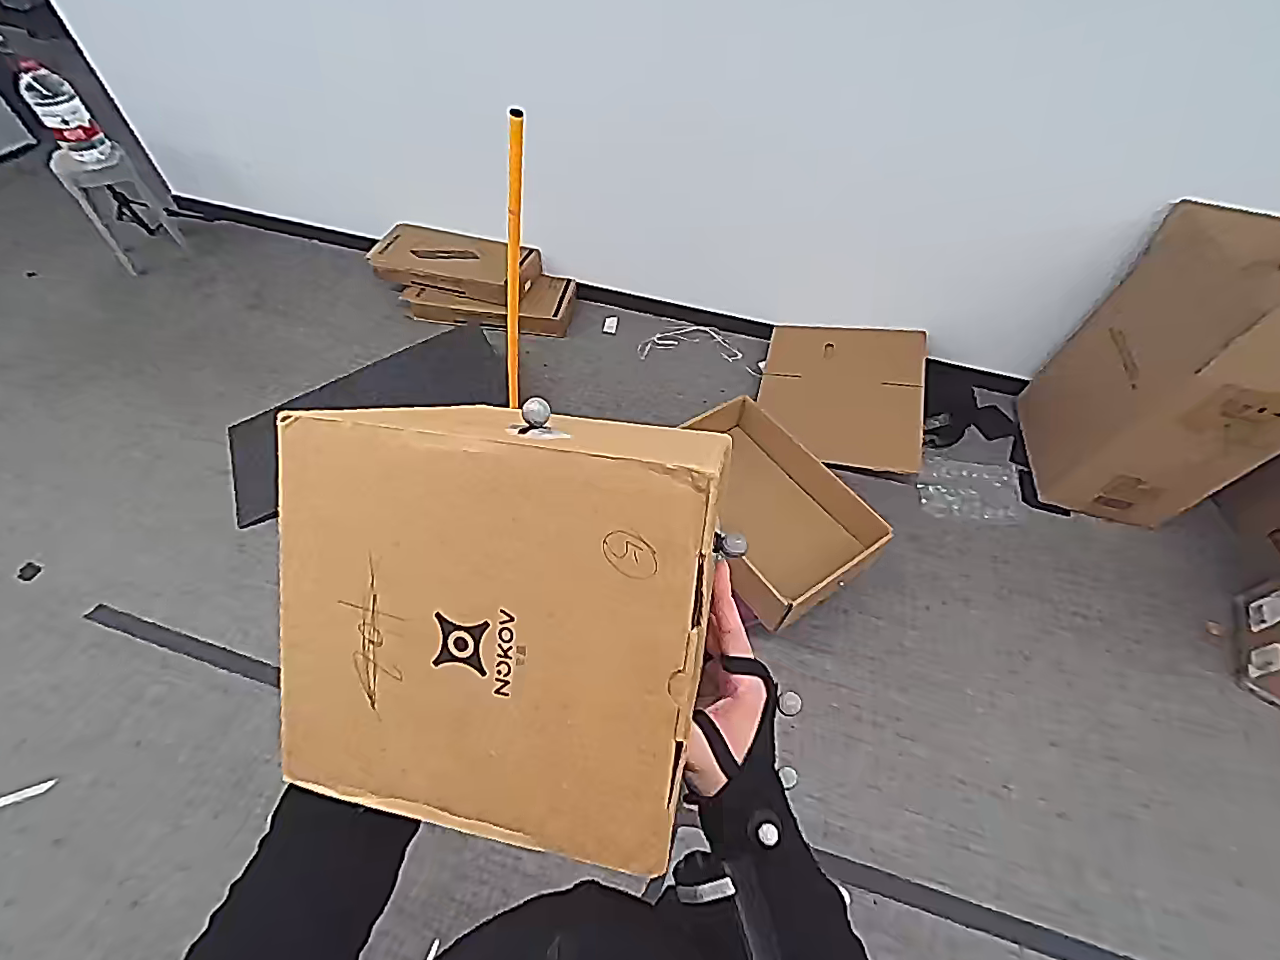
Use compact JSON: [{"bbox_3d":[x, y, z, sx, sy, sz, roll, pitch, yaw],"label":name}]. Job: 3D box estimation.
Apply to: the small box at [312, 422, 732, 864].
[{"bbox_3d":[-0.045,0.058,0.303,0.179,0.168,0.176,8,8,11],"label":"small box"}]
